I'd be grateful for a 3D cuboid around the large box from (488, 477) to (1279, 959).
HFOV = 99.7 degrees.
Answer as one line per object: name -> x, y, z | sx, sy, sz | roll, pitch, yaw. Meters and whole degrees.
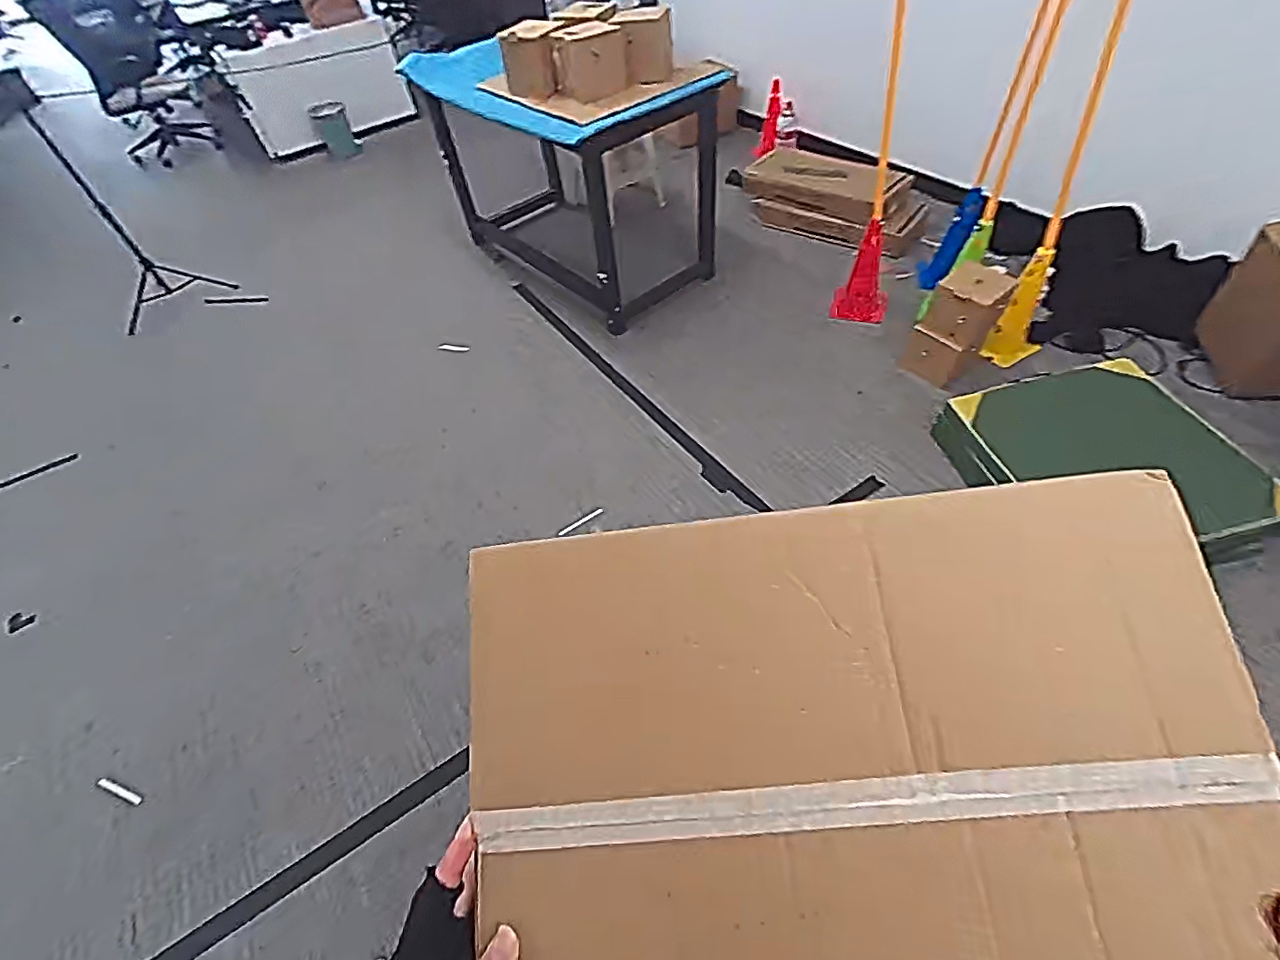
large box -> 0.130, 0.211, 0.431 | 0.408, 0.320, 0.320 | -8, 75, 6
